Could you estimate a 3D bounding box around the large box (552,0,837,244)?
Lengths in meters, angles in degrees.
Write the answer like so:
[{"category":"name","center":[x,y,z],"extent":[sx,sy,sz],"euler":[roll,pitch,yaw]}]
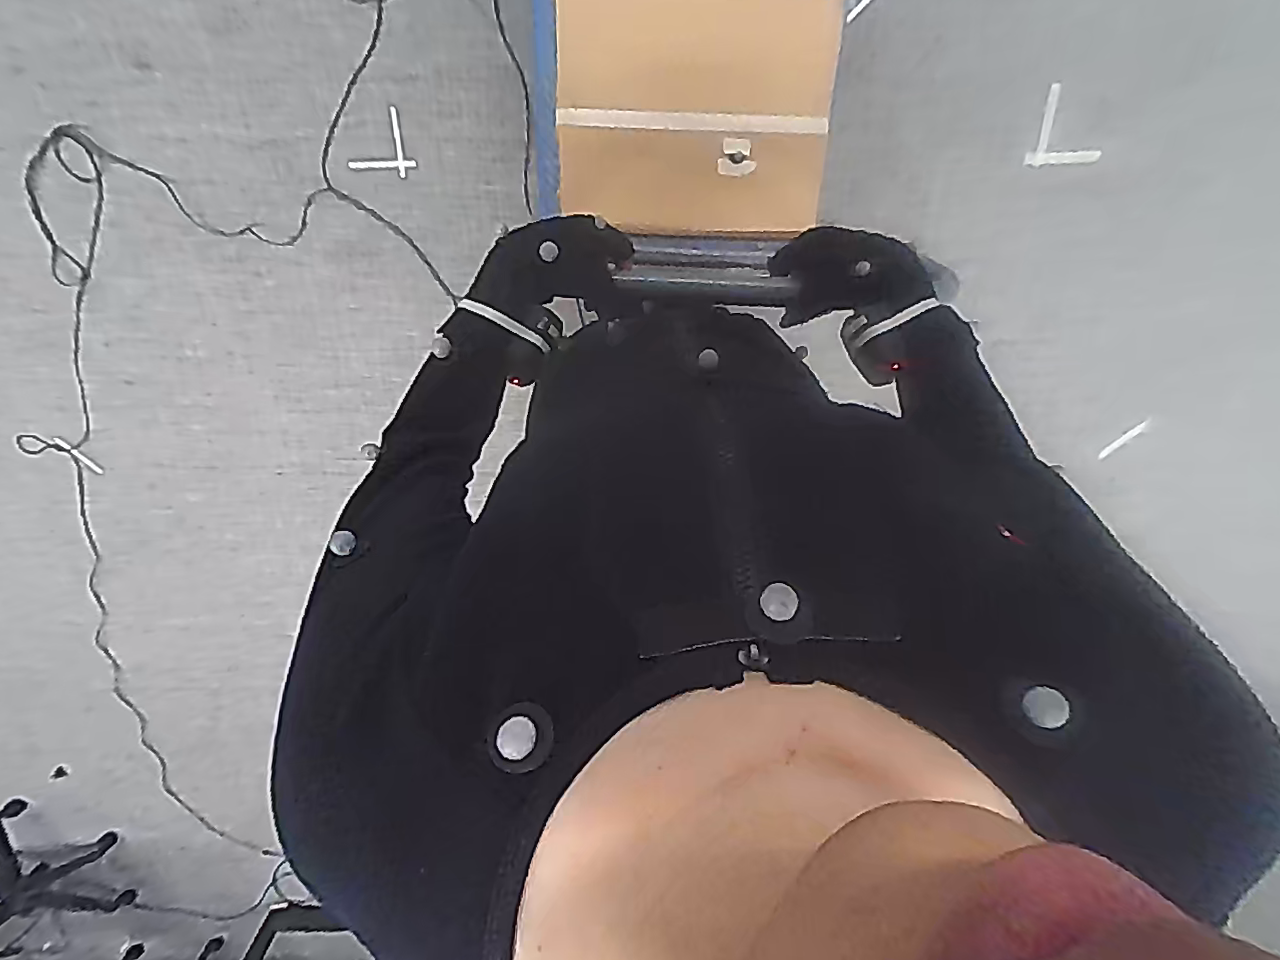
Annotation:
[{"category":"large box","center":[0.069,-0.583,0.940],"extent":[0.408,0.320,0.320],"euler":[1,114,-3]}]
